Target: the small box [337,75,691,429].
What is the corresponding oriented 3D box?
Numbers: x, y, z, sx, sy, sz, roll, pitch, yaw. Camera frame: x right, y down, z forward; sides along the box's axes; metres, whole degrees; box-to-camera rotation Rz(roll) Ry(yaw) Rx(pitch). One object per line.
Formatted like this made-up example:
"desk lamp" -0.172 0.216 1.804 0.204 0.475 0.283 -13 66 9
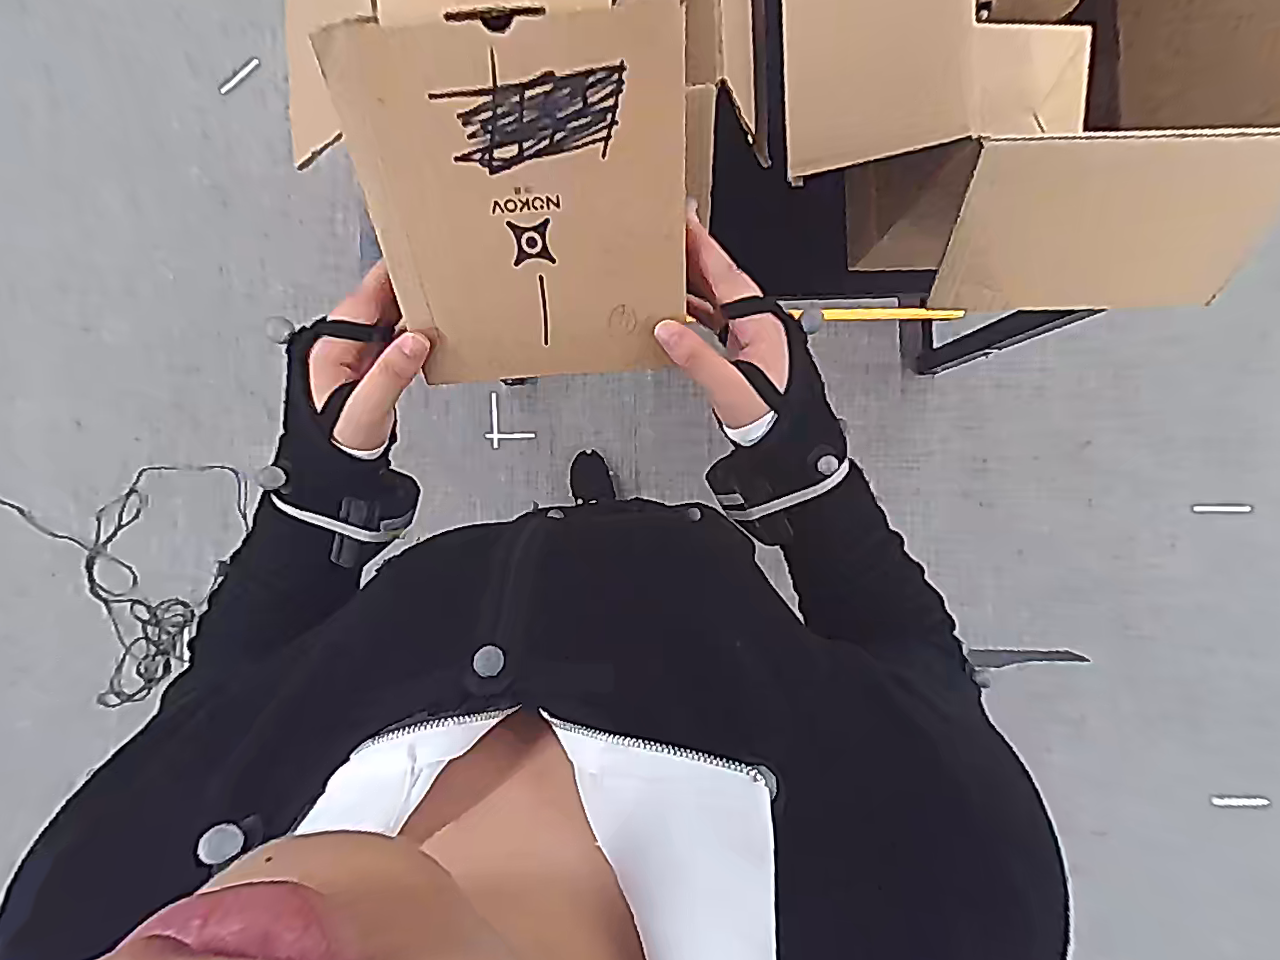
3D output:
"small box" -0.059 -0.155 0.359 0.168 0.176 0.179 -4 127 0
